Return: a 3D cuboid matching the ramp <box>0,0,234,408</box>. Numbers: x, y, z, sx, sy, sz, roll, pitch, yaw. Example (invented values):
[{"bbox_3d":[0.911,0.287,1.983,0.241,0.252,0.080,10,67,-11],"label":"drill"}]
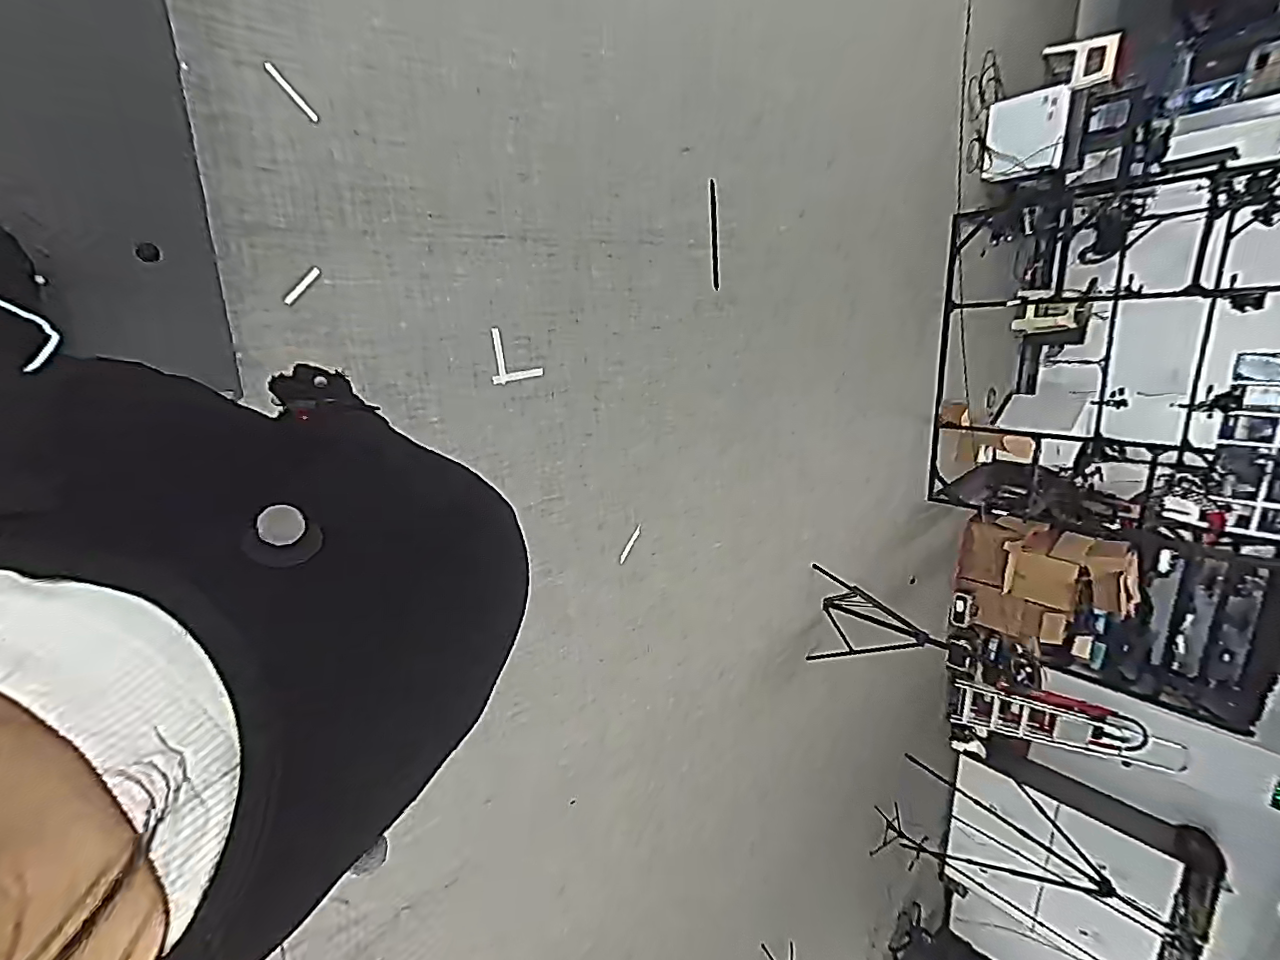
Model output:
[{"bbox_3d":[-1.013,-0.604,0.833,0.509,0.206,0.991,-18,113,-41],"label":"ramp"}]
